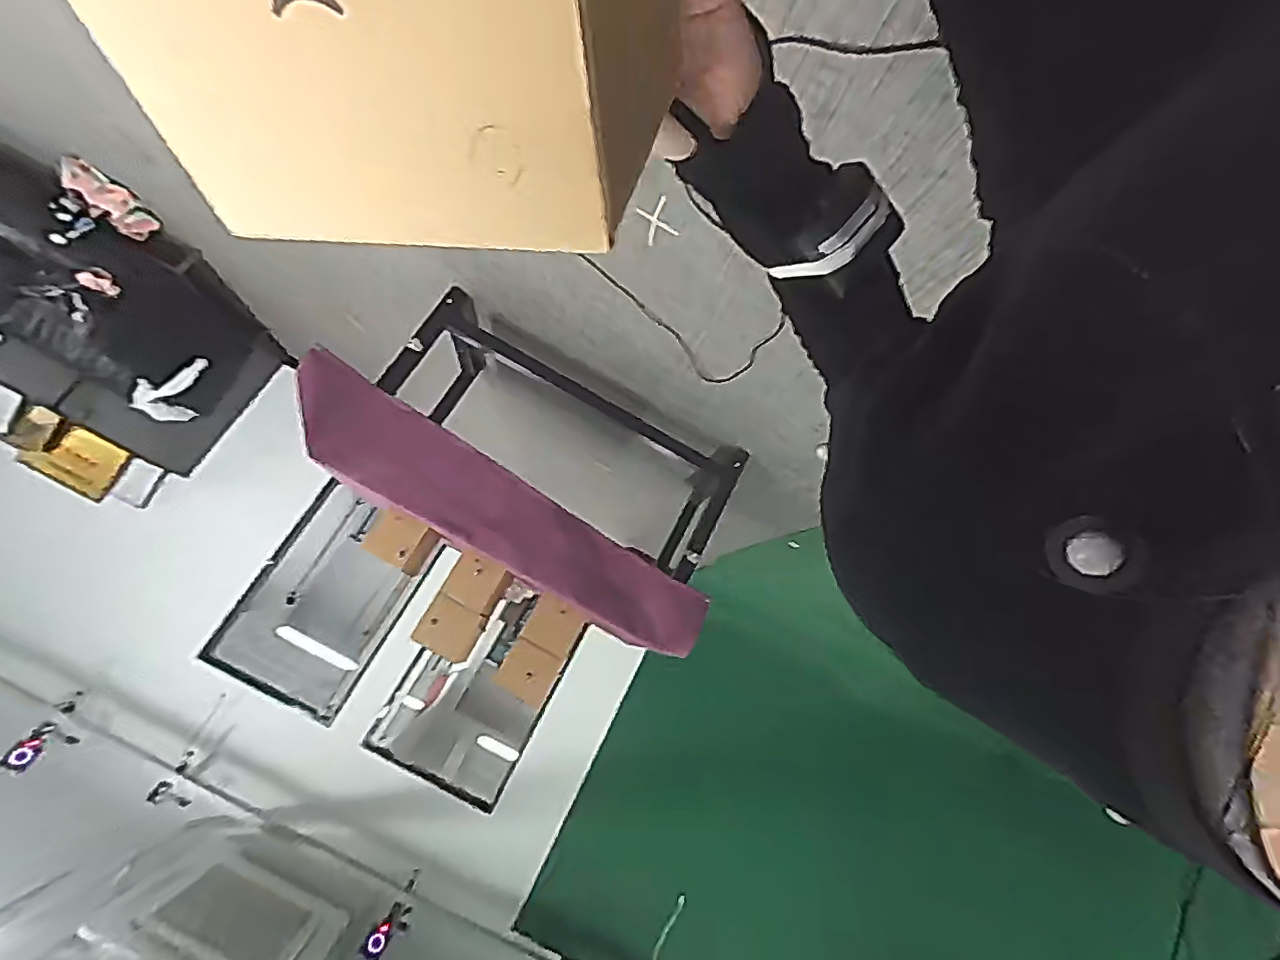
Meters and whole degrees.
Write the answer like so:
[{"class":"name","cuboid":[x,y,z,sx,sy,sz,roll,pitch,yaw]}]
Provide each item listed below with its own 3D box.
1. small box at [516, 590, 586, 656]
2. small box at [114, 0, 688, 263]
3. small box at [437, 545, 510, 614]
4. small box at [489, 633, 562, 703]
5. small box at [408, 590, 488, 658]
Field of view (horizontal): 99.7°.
[{"class":"small box","cuboid":[-0.308,0.492,1.881,0.179,0.176,0.168,29,163,0]},{"class":"small box","cuboid":[-0.074,-0.212,0.204,0.168,0.176,0.179,8,144,10]},{"class":"small box","cuboid":[-0.569,0.345,1.878,0.168,0.176,0.179,27,161,4]},{"class":"small box","cuboid":[-0.385,0.629,1.831,0.179,0.176,0.168,28,162,-1]},{"class":"small box","cuboid":[-0.641,0.482,1.825,0.179,0.176,0.168,28,163,3]}]
